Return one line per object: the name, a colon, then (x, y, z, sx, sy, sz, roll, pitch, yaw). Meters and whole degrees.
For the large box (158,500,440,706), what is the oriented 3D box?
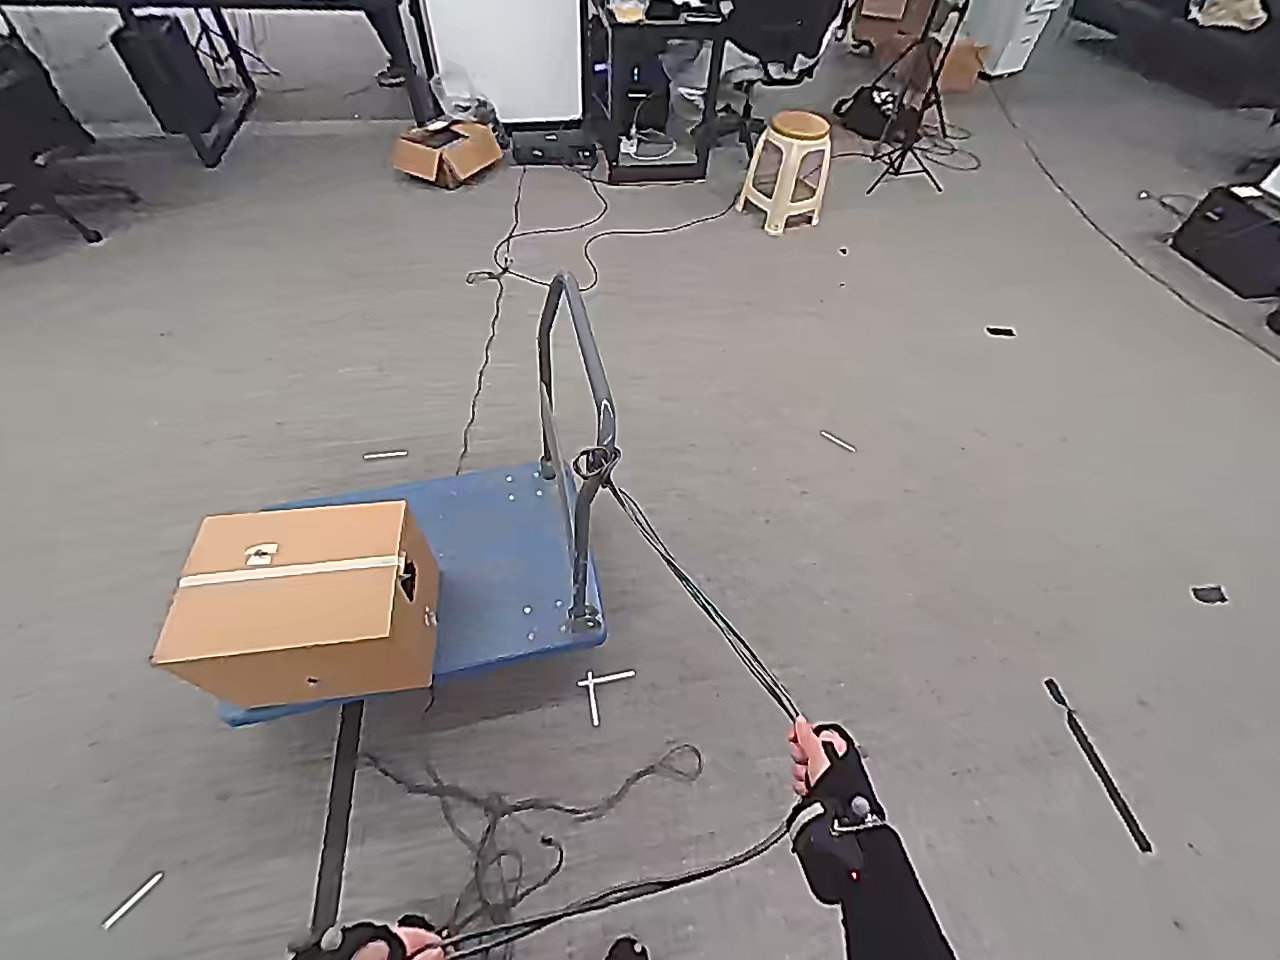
large box: (-0.680, 0.272, 1.177, 0.408, 0.320, 0.320, -5, 53, -7)
